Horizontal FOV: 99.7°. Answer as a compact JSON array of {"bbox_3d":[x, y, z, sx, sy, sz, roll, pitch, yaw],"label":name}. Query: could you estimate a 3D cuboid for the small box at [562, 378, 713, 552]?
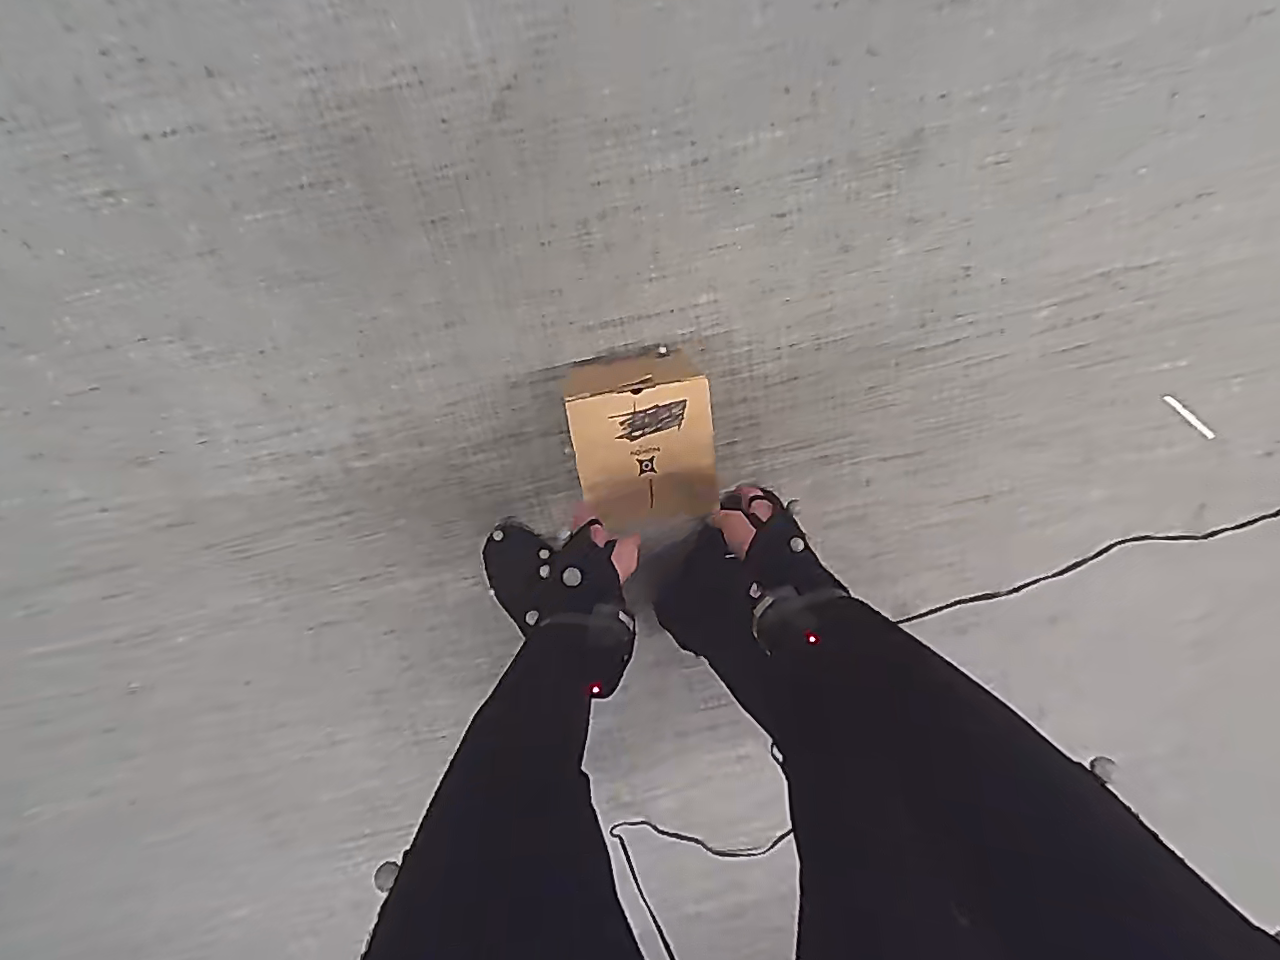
[{"bbox_3d":[-0.006,-0.031,0.722,0.168,0.176,0.179,-10,114,-1],"label":"small box"}]
